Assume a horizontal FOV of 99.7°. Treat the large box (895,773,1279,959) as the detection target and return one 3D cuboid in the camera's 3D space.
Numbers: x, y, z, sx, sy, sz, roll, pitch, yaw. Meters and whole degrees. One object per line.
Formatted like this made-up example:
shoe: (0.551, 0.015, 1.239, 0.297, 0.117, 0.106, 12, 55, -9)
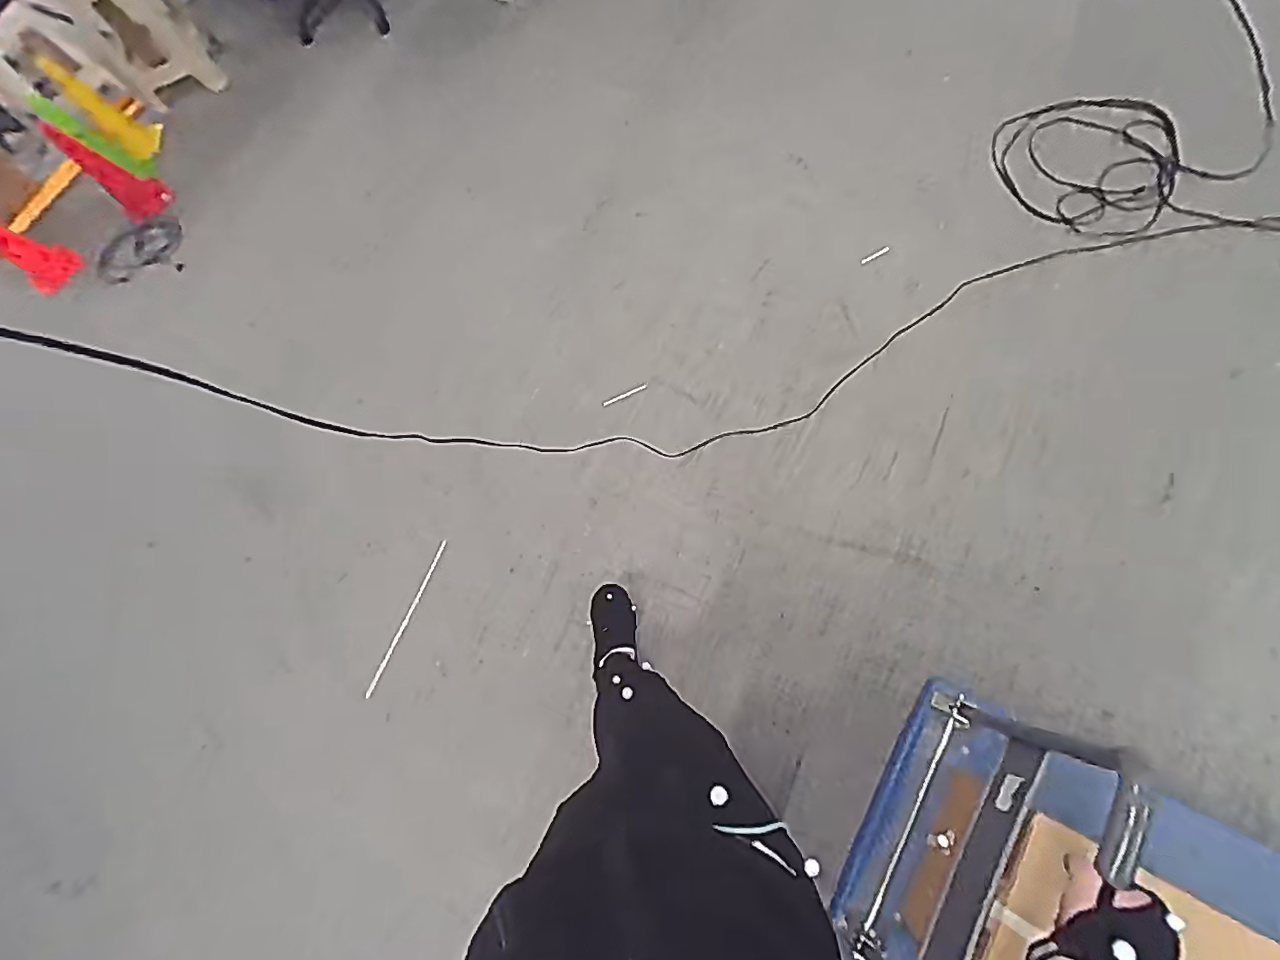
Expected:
large box: (0.720, 0.771, 0.909, 0.408, 0.320, 0.320, 26, 80, 15)
